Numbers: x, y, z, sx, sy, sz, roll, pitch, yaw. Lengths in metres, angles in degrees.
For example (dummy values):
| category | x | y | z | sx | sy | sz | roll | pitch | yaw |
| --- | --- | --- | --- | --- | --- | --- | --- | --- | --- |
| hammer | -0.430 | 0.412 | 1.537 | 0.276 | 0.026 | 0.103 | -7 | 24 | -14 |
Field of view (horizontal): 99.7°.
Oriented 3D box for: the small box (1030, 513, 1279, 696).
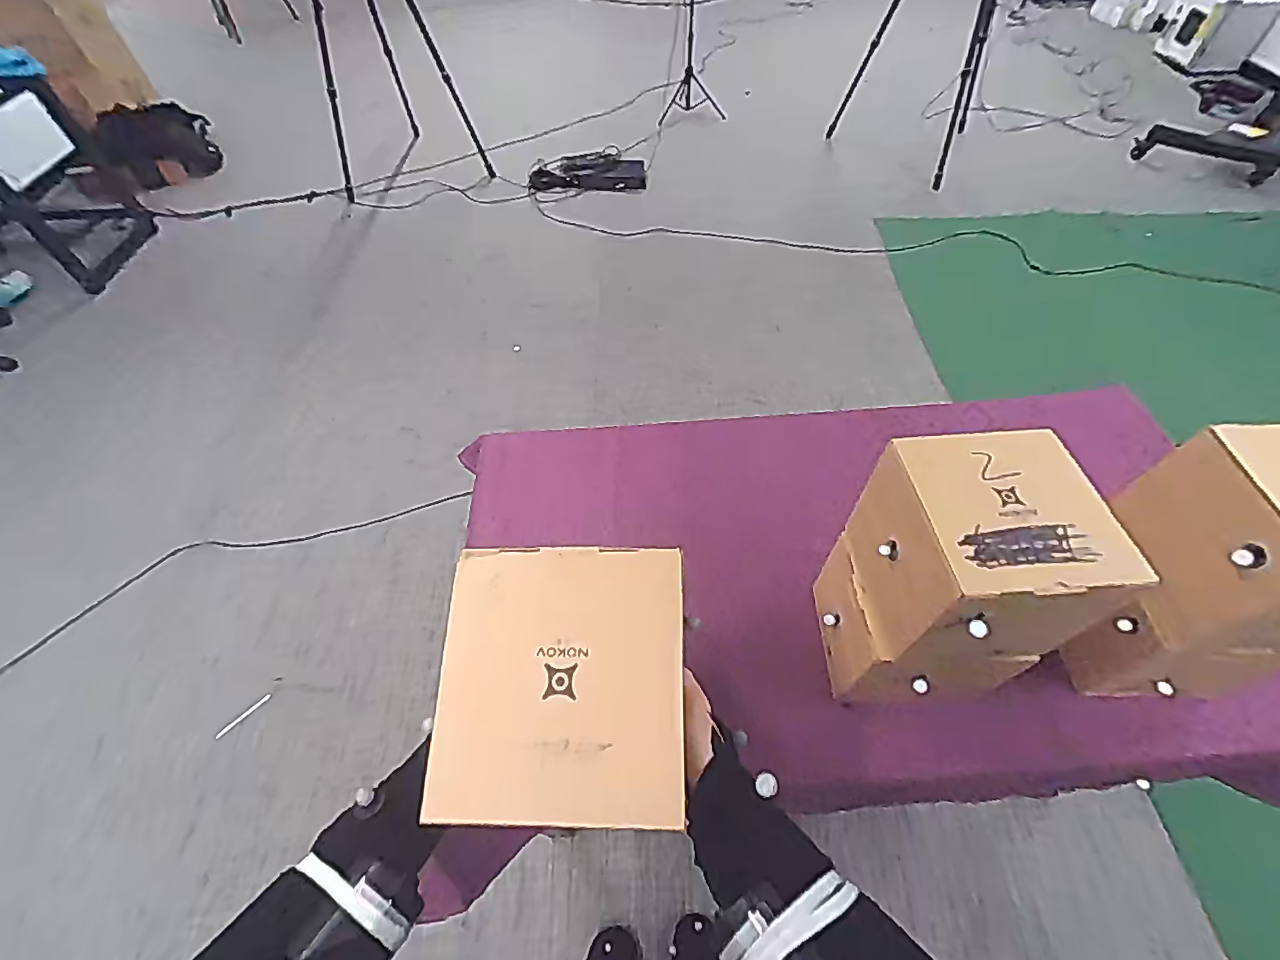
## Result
| category | x | y | z | sx | sy | sz | roll | pitch | yaw |
| --- | --- | --- | --- | --- | --- | --- | --- | --- | --- |
| small box | 0.650 | 0.160 | 0.691 | 0.168 | 0.176 | 0.179 | 0 | 54 | 3 |

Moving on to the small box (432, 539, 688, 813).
| category | x | y | z | sx | sy | sz | roll | pitch | yaw |
| --- | --- | --- | --- | --- | --- | --- | --- | --- | --- |
| small box | -0.045 | 0.156 | 0.446 | 0.168 | 0.176 | 0.179 | 0 | 68 | 4 |

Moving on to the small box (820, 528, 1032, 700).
| category | x | y | z | sx | sy | sz | roll | pitch | yaw |
| --- | --- | --- | --- | --- | --- | --- | --- | --- | --- |
| small box | 0.339 | 0.175 | 0.690 | 0.179 | 0.176 | 0.168 | -1 | 53 | 2 |

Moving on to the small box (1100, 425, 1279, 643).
| category | x | y | z | sx | sy | sz | roll | pitch | yaw |
| --- | --- | --- | --- | --- | --- | --- | --- | --- | --- |
| small box | 0.646 | 0.062 | 0.559 | 0.168 | 0.176 | 0.179 | -1 | 53 | 1 |
